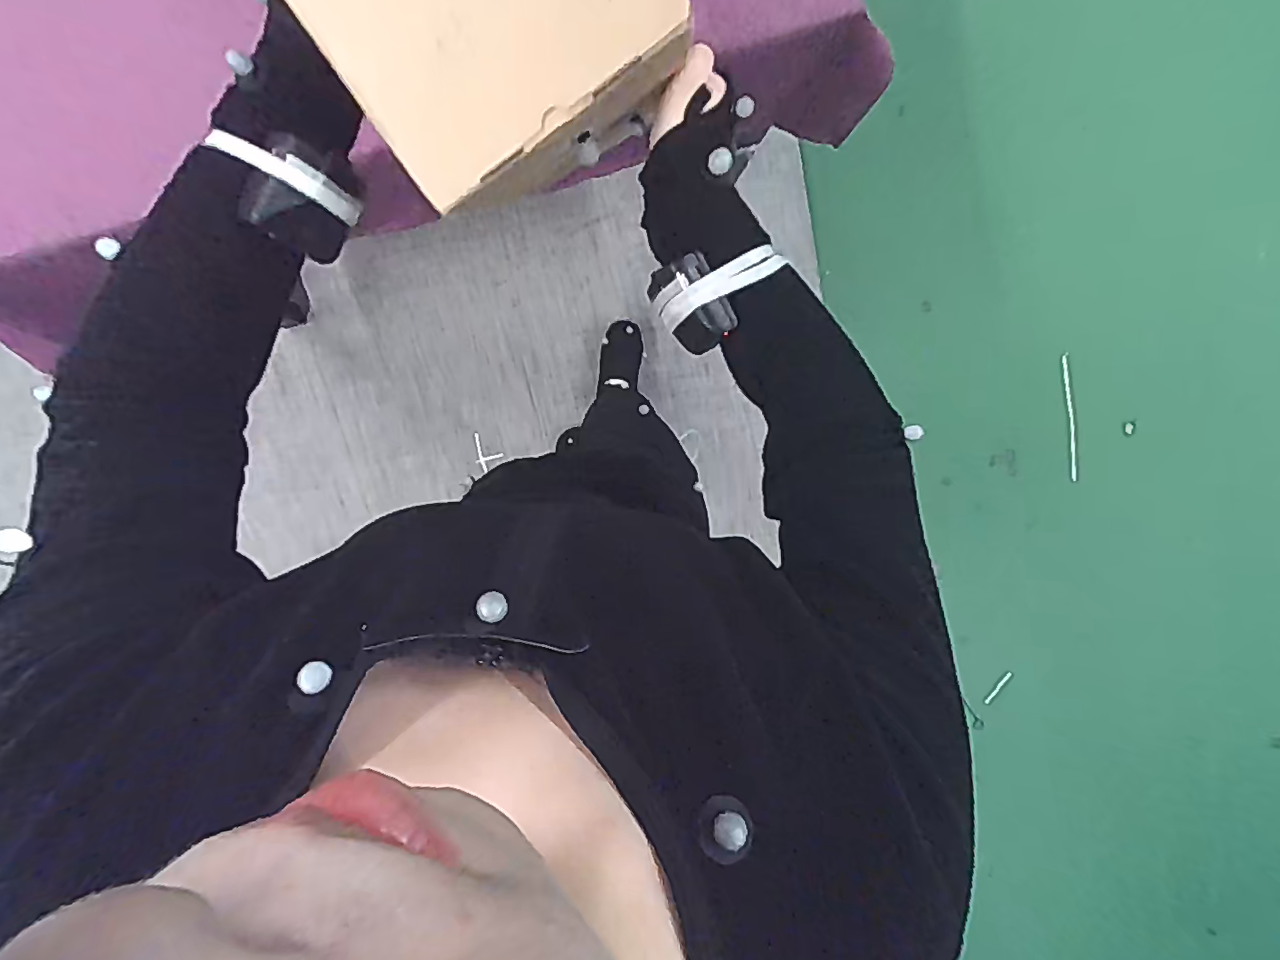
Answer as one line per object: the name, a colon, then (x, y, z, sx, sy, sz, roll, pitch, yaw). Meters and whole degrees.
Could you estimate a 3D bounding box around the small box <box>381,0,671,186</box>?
small box: (-0.081, -0.374, 0.462, 0.179, 0.176, 0.168, -23, 116, 15)
